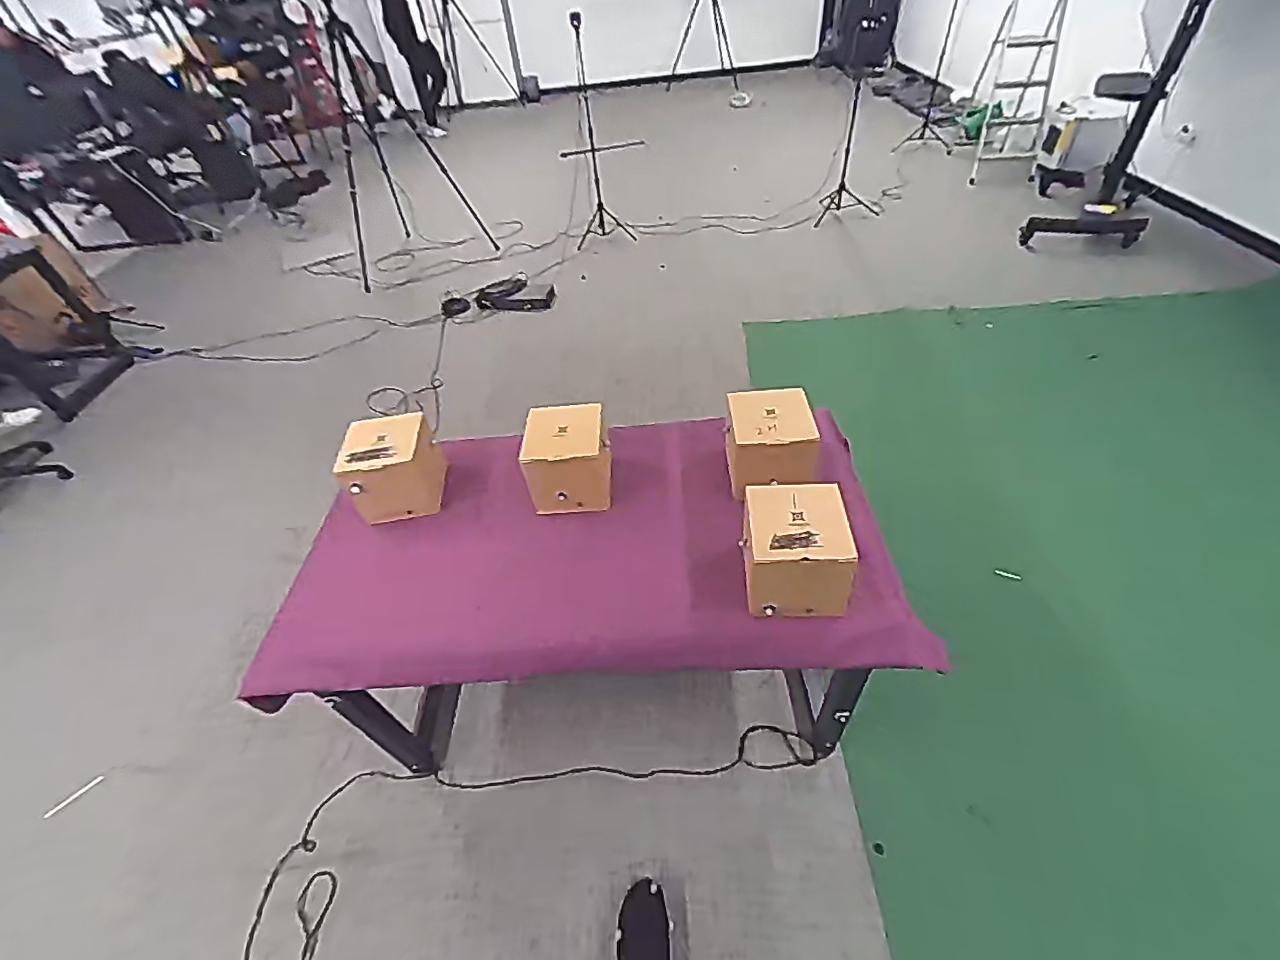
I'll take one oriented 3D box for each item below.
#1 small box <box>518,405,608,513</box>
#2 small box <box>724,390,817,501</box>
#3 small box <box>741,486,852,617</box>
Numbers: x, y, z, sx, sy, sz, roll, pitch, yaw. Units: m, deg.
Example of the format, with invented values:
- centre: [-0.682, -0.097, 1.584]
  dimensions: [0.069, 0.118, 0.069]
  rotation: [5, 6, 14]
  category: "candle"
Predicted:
- centre: [-0.164, -0.046, 1.207]
  dimensions: [0.168, 0.176, 0.179]
  rotation: [-4, 47, 2]
  category: "small box"
- centre: [0.276, -0.075, 1.183]
  dimensions: [0.168, 0.176, 0.179]
  rotation: [-4, 46, 4]
  category: "small box"
- centre: [0.272, 0.132, 0.978]
  dimensions: [0.168, 0.176, 0.179]
  rotation: [-1, 44, 6]
  category: "small box"
